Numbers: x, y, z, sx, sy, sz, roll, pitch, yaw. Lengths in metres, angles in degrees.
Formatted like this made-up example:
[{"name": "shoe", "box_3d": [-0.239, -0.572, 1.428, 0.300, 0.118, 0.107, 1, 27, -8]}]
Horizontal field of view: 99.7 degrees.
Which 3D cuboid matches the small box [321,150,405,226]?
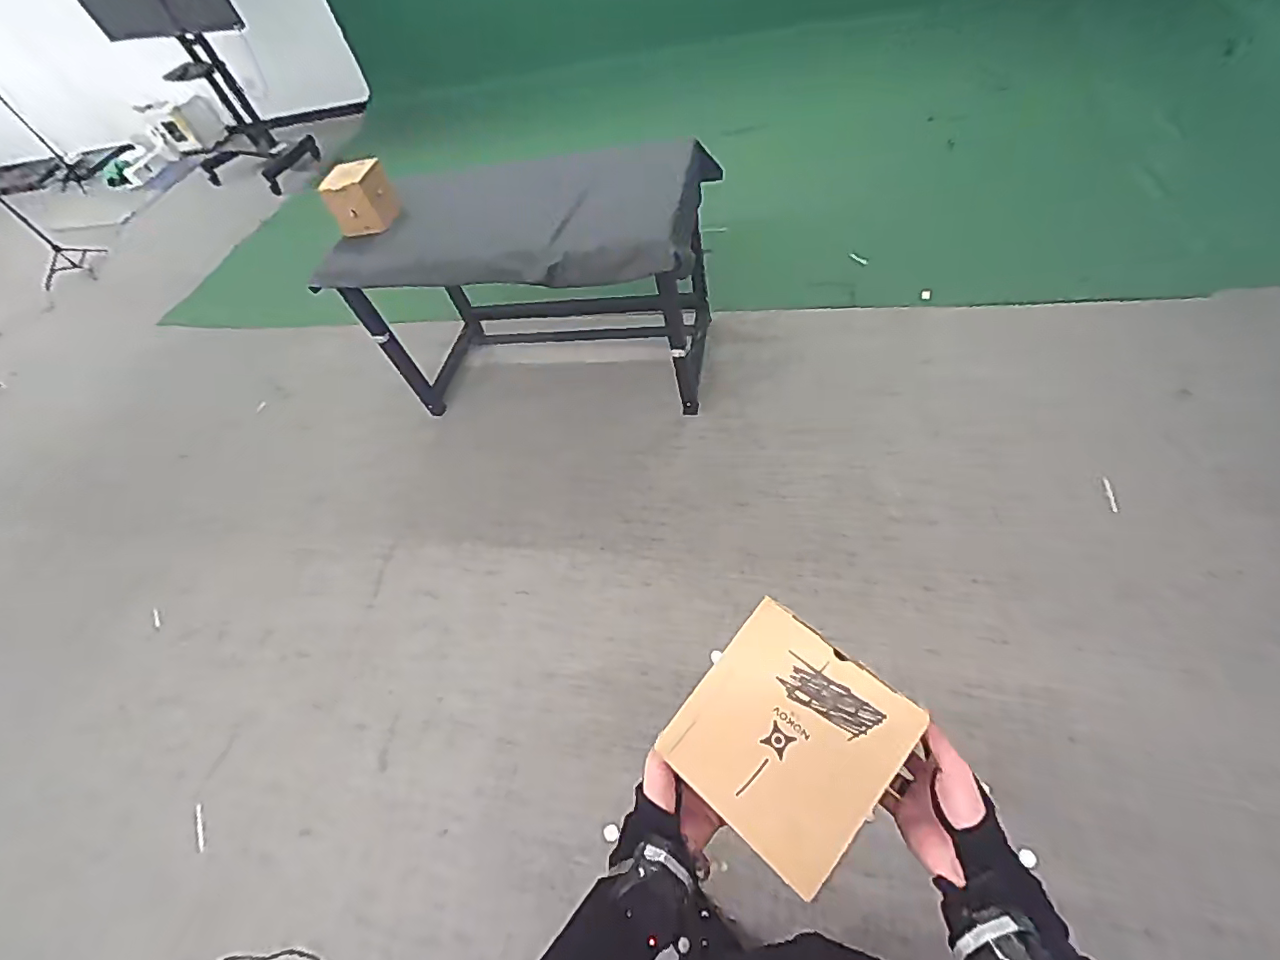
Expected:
[{"name": "small box", "box_3d": [-0.949, -1.001, 1.871, 0.168, 0.176, 0.179, -1, 56, 13]}]
